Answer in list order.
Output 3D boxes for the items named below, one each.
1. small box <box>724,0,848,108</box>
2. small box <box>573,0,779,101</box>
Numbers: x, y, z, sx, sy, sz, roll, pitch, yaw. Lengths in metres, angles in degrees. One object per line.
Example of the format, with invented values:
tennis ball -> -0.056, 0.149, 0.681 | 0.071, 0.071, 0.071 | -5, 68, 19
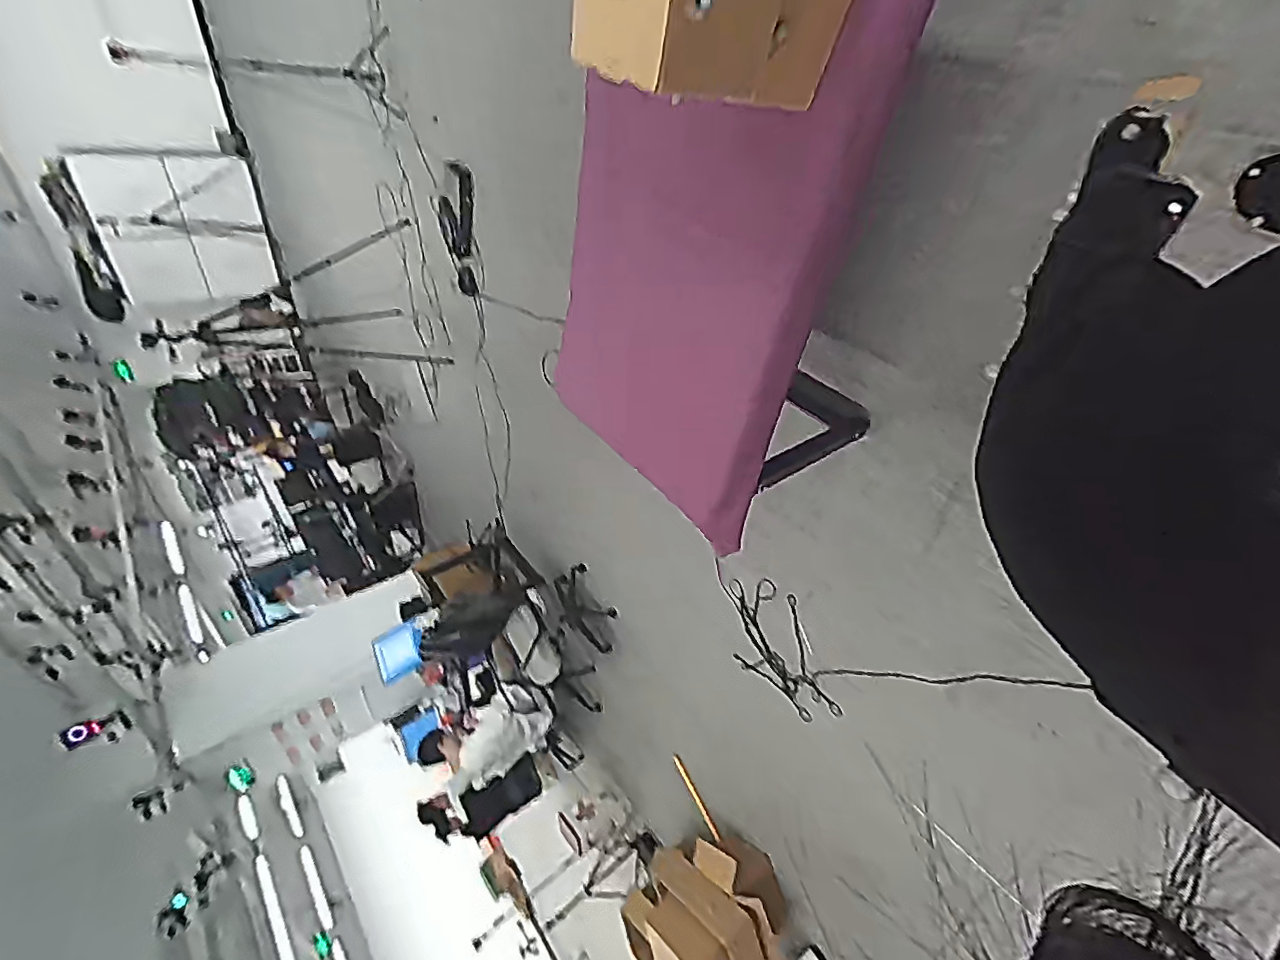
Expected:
small box -> 0.151, -0.620, 0.711 | 0.168, 0.176, 0.179 | 49, 144, 26
small box -> 0.043, -0.548, 0.606 | 0.168, 0.176, 0.179 | 45, 141, 30
